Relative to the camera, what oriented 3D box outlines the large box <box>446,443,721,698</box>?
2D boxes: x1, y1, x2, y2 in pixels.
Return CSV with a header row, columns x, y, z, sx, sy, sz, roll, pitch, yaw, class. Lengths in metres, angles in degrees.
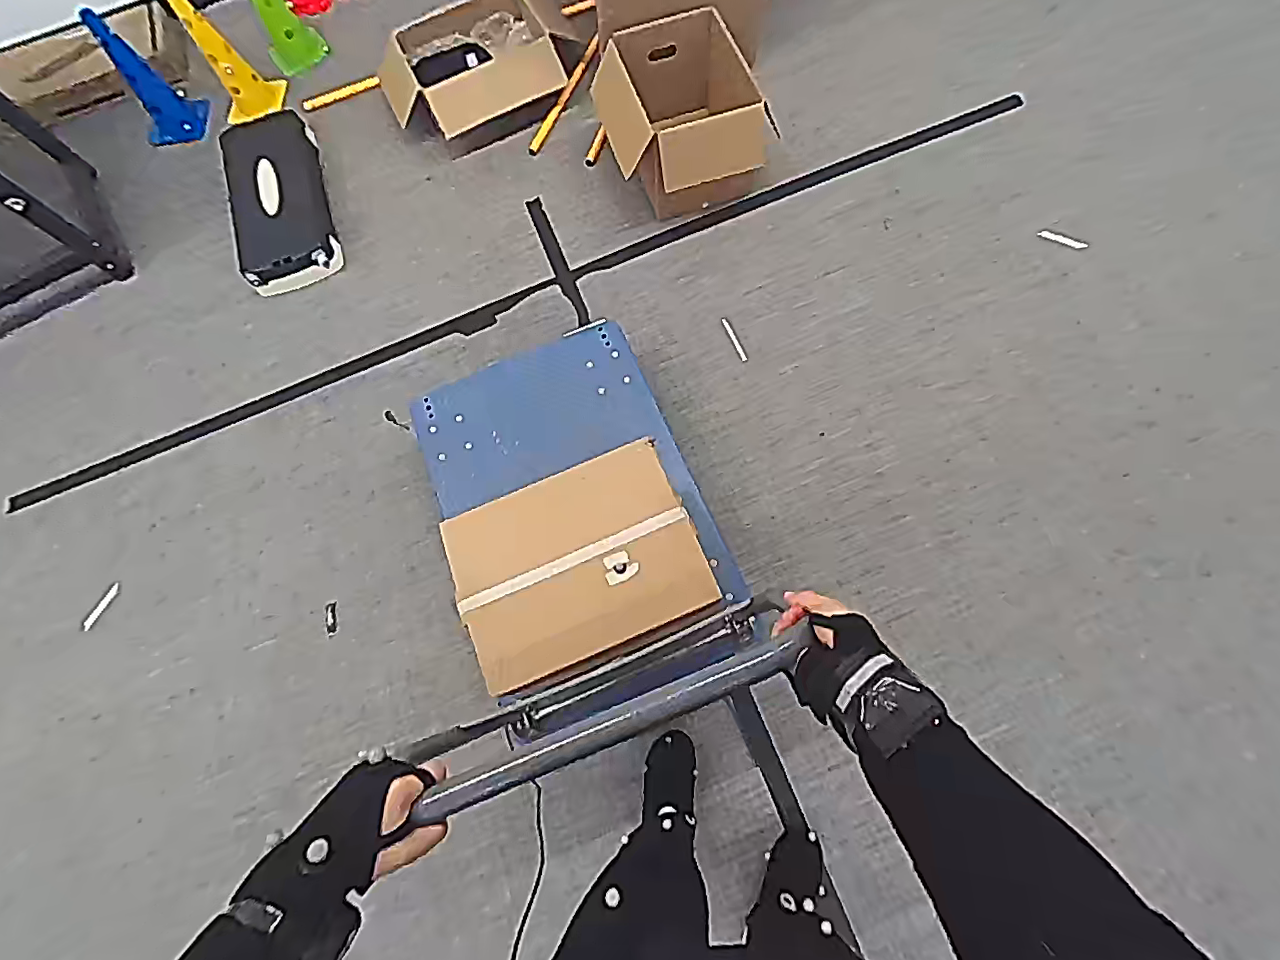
x,y,z,sx,sy,sz,roll,pitch,yaw,class
-0.095,0.189,1.057,0.408,0.320,0.320,-23,72,-4,large box
